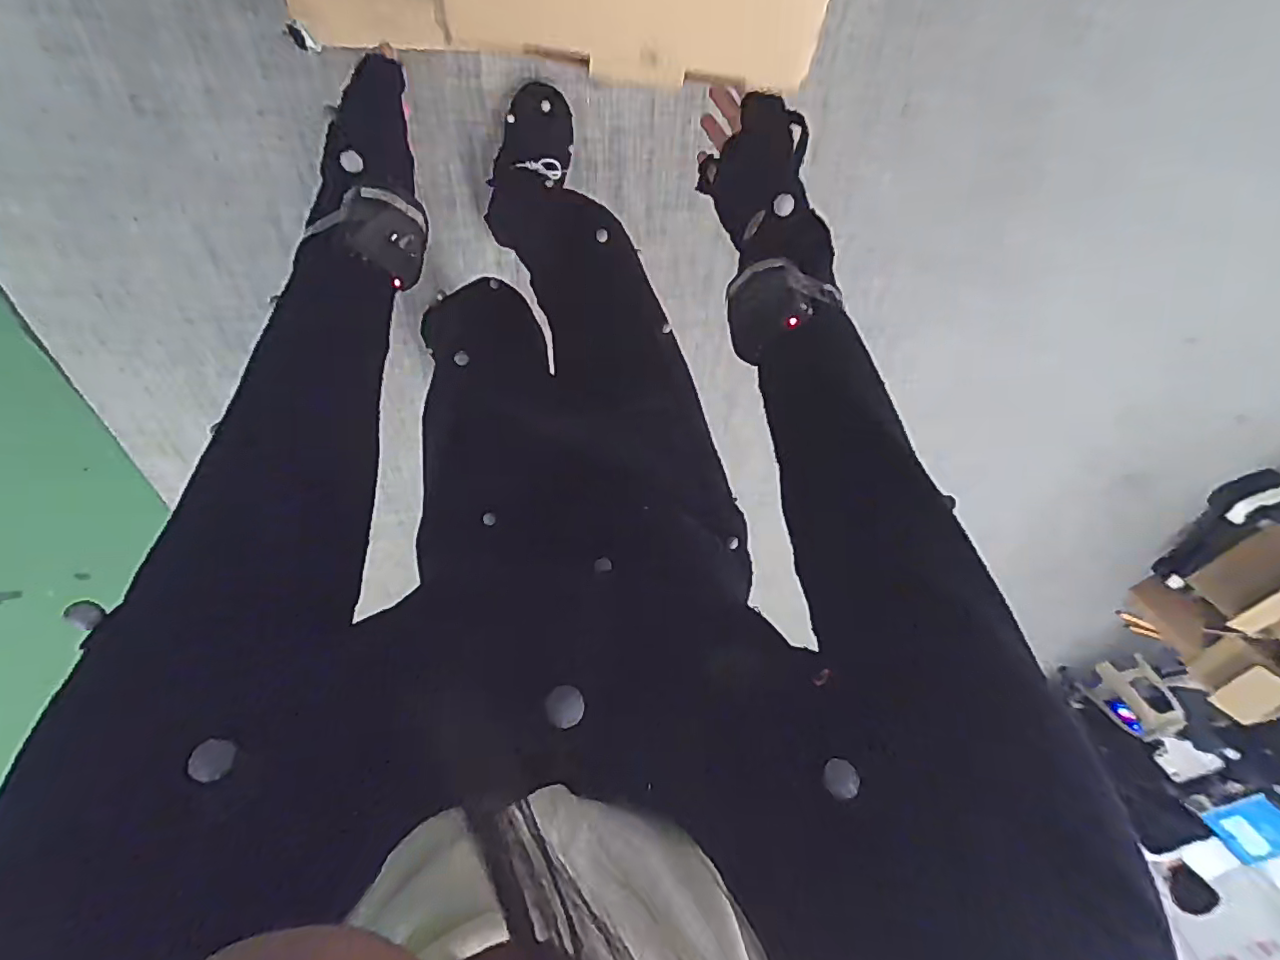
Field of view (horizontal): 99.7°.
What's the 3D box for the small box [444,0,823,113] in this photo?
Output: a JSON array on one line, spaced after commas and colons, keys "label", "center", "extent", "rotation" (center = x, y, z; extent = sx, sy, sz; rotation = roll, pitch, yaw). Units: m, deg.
[{"label": "small box", "center": [-0.008, -0.298, 0.249], "extent": [0.168, 0.176, 0.179], "rotation": [-4, 134, -15]}]
